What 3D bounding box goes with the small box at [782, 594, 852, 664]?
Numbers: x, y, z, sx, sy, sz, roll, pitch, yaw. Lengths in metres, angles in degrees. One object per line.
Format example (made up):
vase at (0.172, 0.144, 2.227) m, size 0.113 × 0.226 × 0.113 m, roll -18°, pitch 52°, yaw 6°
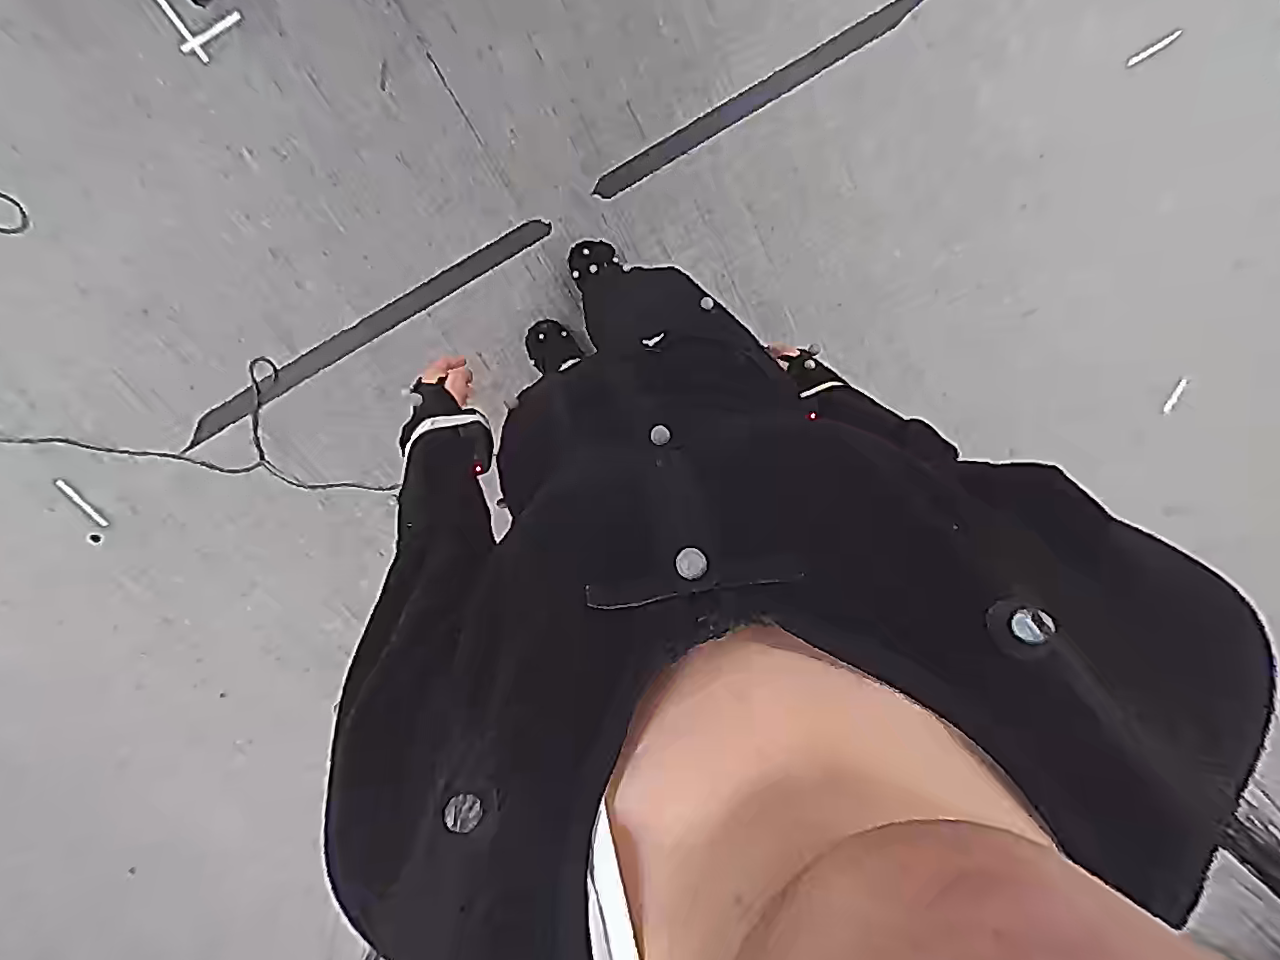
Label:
small box at (0.578, 0.485, 1.710) m, size 0.168 × 0.176 × 0.179 m, roll -35°, pitch 111°, yaw 3°
